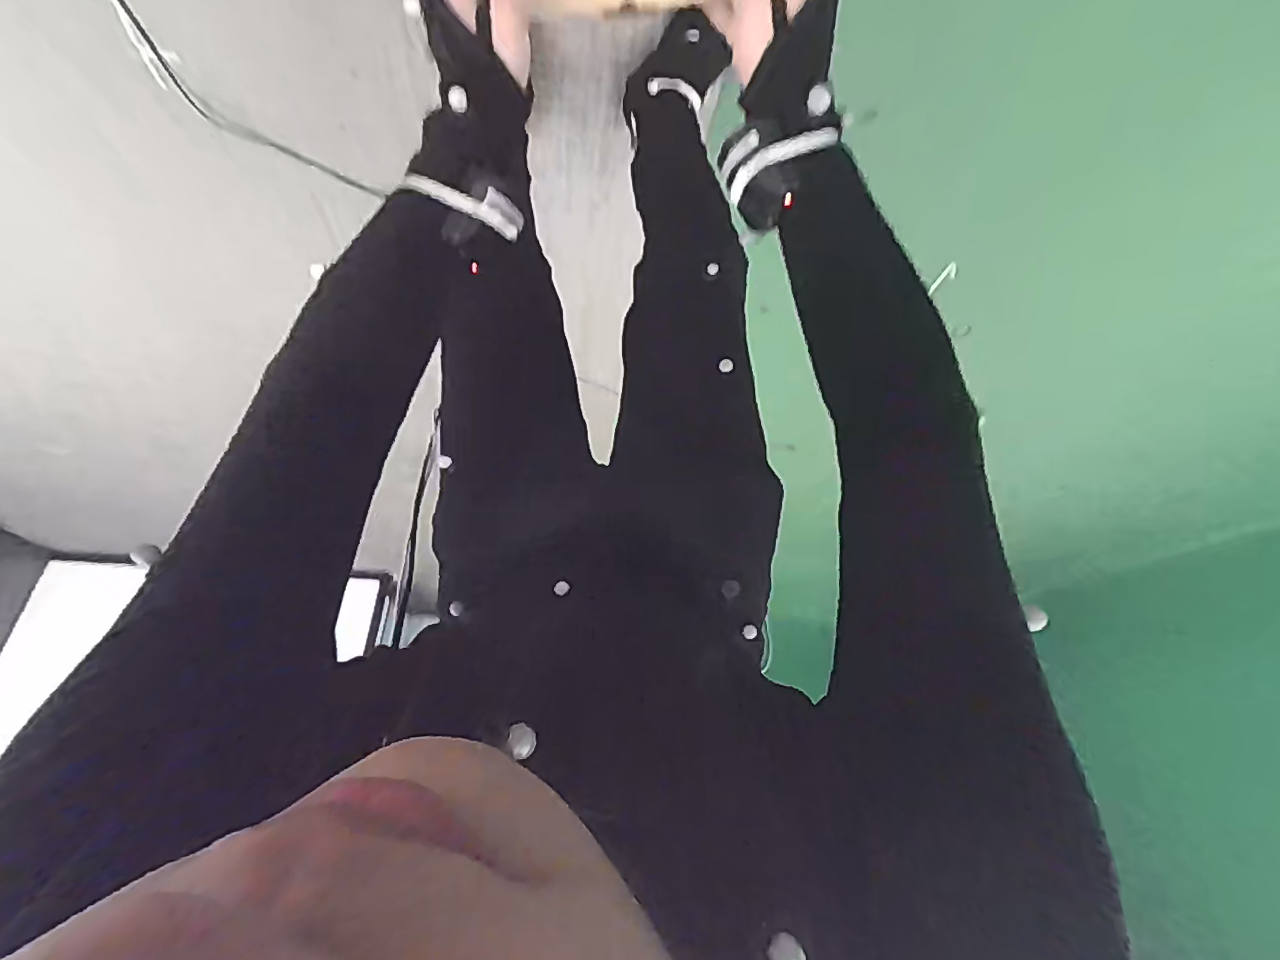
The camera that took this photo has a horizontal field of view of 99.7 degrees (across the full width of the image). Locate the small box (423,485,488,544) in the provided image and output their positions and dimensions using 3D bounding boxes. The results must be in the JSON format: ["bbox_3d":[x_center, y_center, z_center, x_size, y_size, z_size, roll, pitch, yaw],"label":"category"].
[{"bbox_3d":[-0.714,0.132,2.106,0.168,0.176,0.179,-24,144,37],"label":"small box"}]

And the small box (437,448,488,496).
[{"bbox_3d":[-0.707,-0.013,2.160,0.168,0.176,0.179,9,153,-13],"label":"small box"}]
